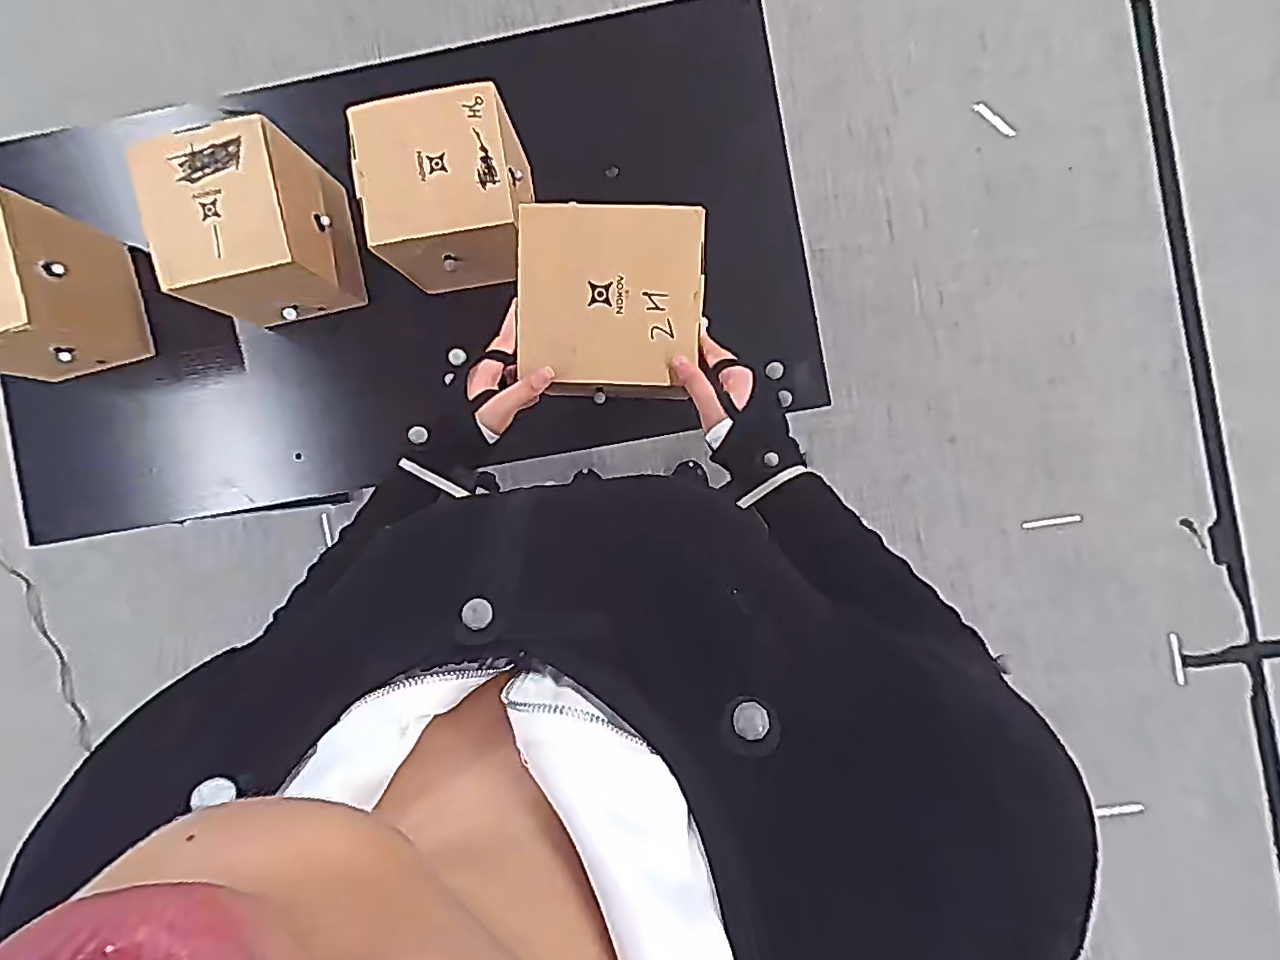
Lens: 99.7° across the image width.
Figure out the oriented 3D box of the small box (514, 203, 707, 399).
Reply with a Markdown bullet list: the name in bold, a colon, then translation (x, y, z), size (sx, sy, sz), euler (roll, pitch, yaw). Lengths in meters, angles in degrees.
- **small box**: translation (-0.026, -0.175, 0.579), size (0.179, 0.176, 0.168), euler (2, 95, 1)

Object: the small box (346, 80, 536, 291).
- **small box**: translation (-0.235, -0.357, 0.691), size (0.179, 0.176, 0.168), euler (-8, 90, 3)

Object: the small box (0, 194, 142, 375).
- **small box**: translation (-0.816, -0.245, 0.711), size (0.168, 0.176, 0.179), euler (-14, 90, 1)

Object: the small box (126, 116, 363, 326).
- **small box**: translation (-0.492, -0.319, 0.699), size (0.168, 0.176, 0.179), euler (-11, 91, 2)
